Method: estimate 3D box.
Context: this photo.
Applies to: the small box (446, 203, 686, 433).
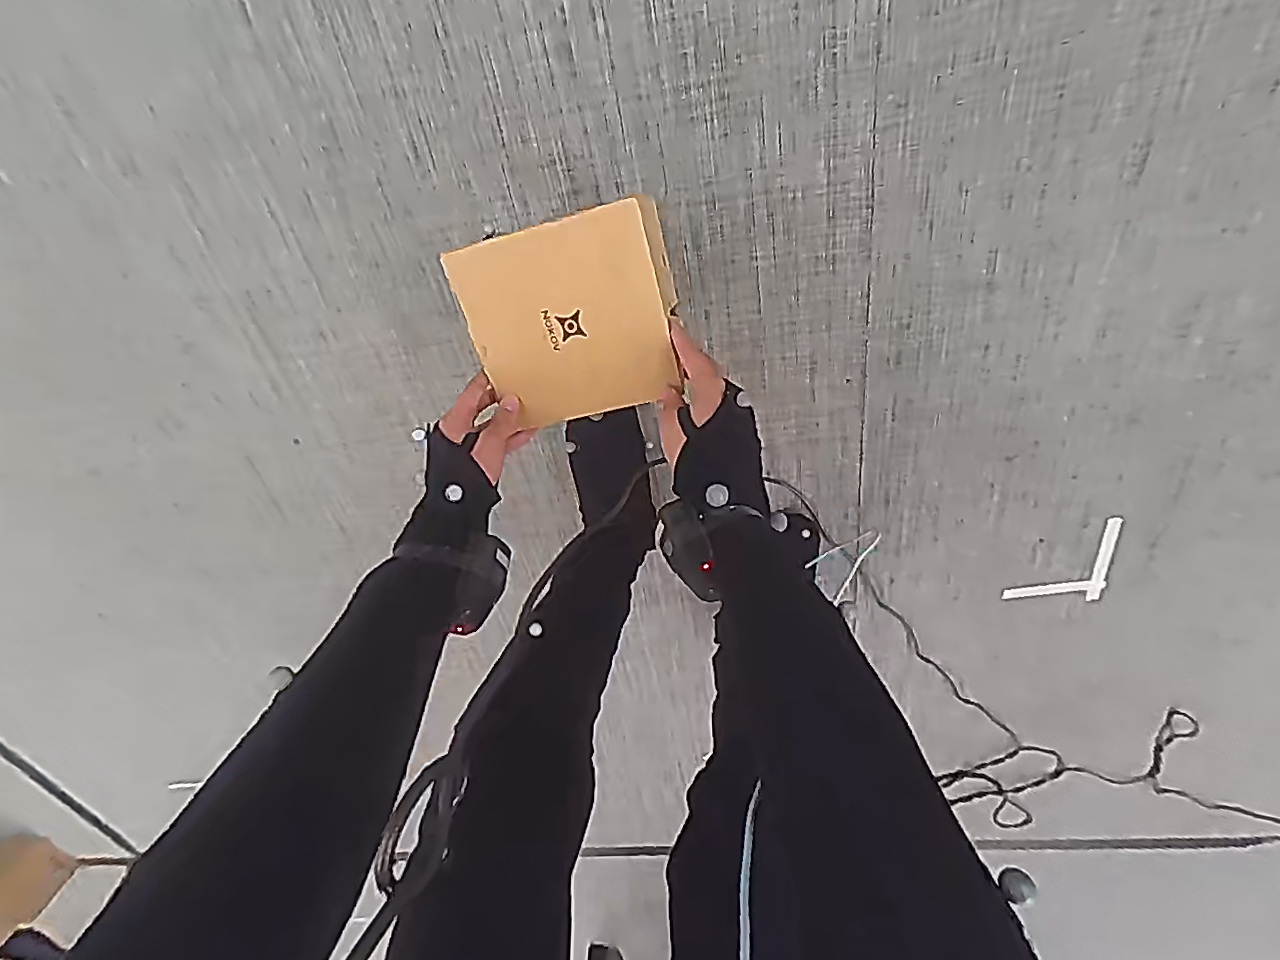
[{"bbox_3d":[-0.054,-0.168,0.542,0.179,0.176,0.168,-10,116,13],"label":"small box"}]
